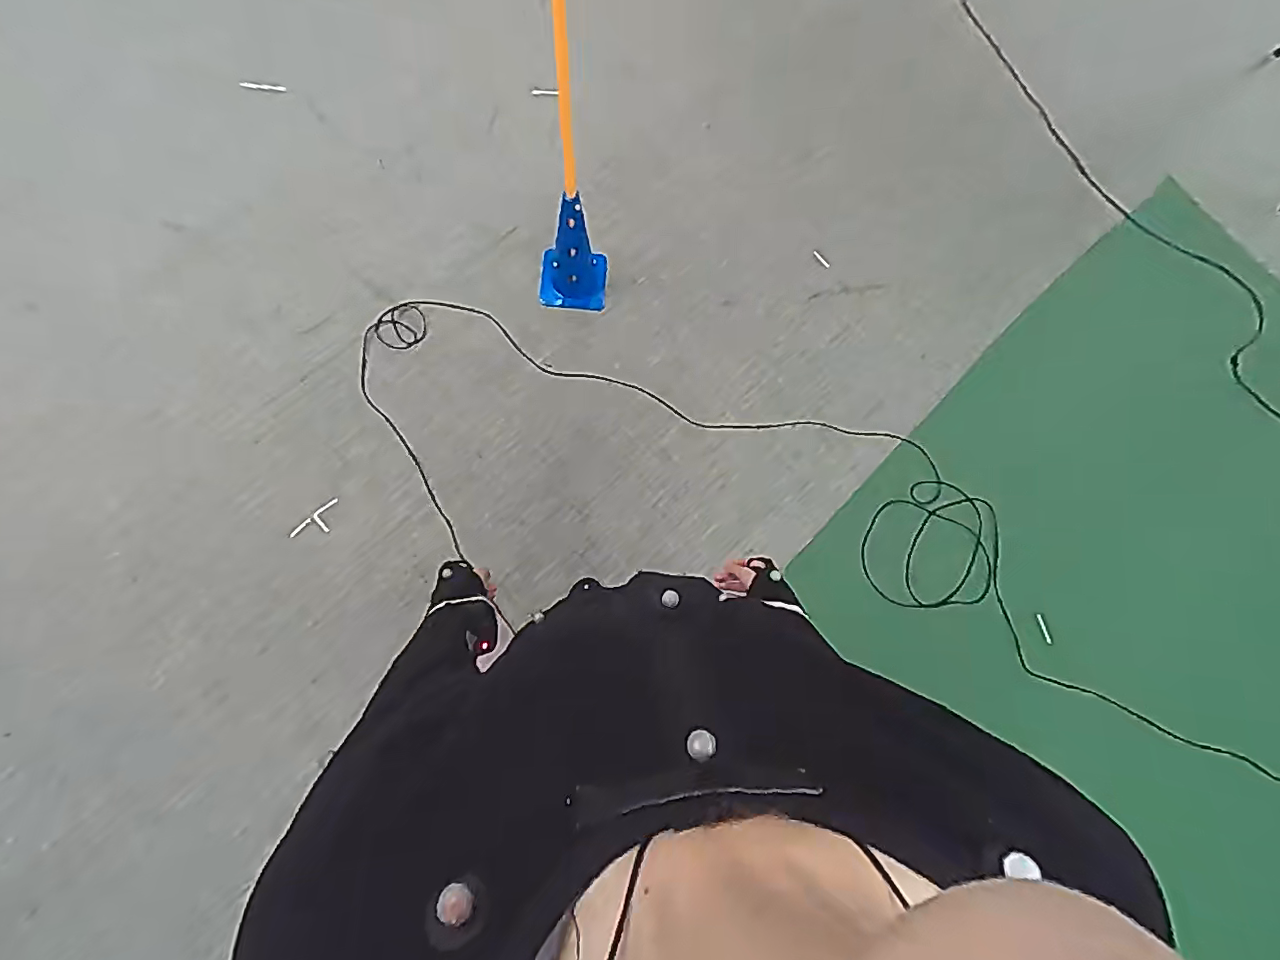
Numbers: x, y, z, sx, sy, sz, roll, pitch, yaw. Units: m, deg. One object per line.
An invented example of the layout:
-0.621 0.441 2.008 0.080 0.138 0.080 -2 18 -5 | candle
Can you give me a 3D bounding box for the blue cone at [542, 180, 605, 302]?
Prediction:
-0.188 -0.676 1.506 0.192 0.380 0.193 2 75 -6 | blue cone
